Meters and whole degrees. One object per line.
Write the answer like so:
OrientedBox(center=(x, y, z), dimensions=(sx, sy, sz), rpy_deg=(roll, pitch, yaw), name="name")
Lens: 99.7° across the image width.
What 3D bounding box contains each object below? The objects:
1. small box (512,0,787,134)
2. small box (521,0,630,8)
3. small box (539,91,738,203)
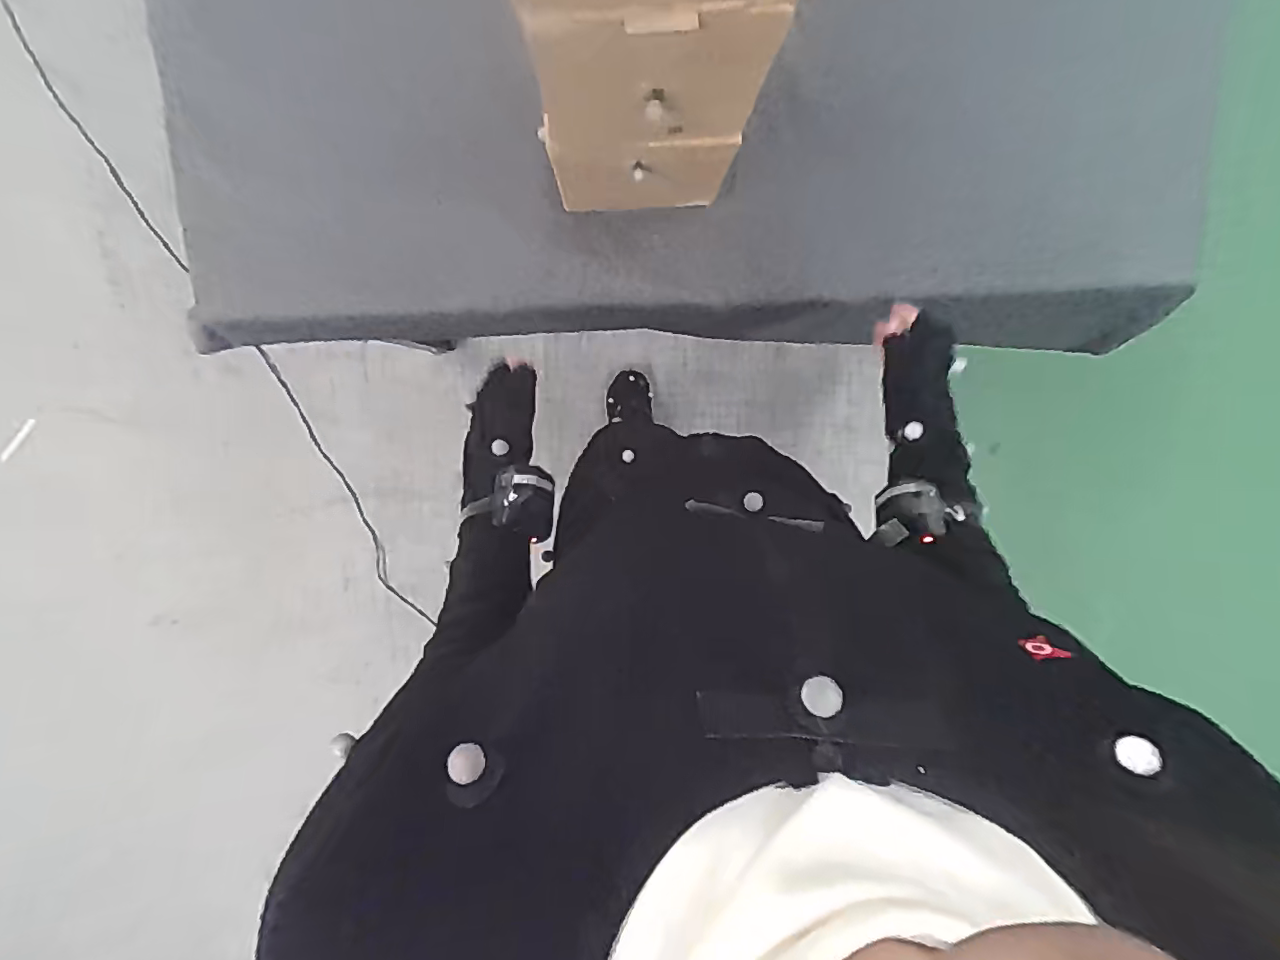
OrientedBox(center=(0.001, -0.370, 0.381), dimensions=(0.168, 0.176, 0.179), rpy_deg=(-5, 100, -1), name="small box")
OrientedBox(center=(0.010, -0.341, 0.218), dimensions=(0.179, 0.176, 0.168), rpy_deg=(-7, 100, -1), name="small box")
OrientedBox(center=(-0.005, -0.391, 0.542), dimensions=(0.179, 0.176, 0.168), rpy_deg=(-3, 100, -2), name="small box")
